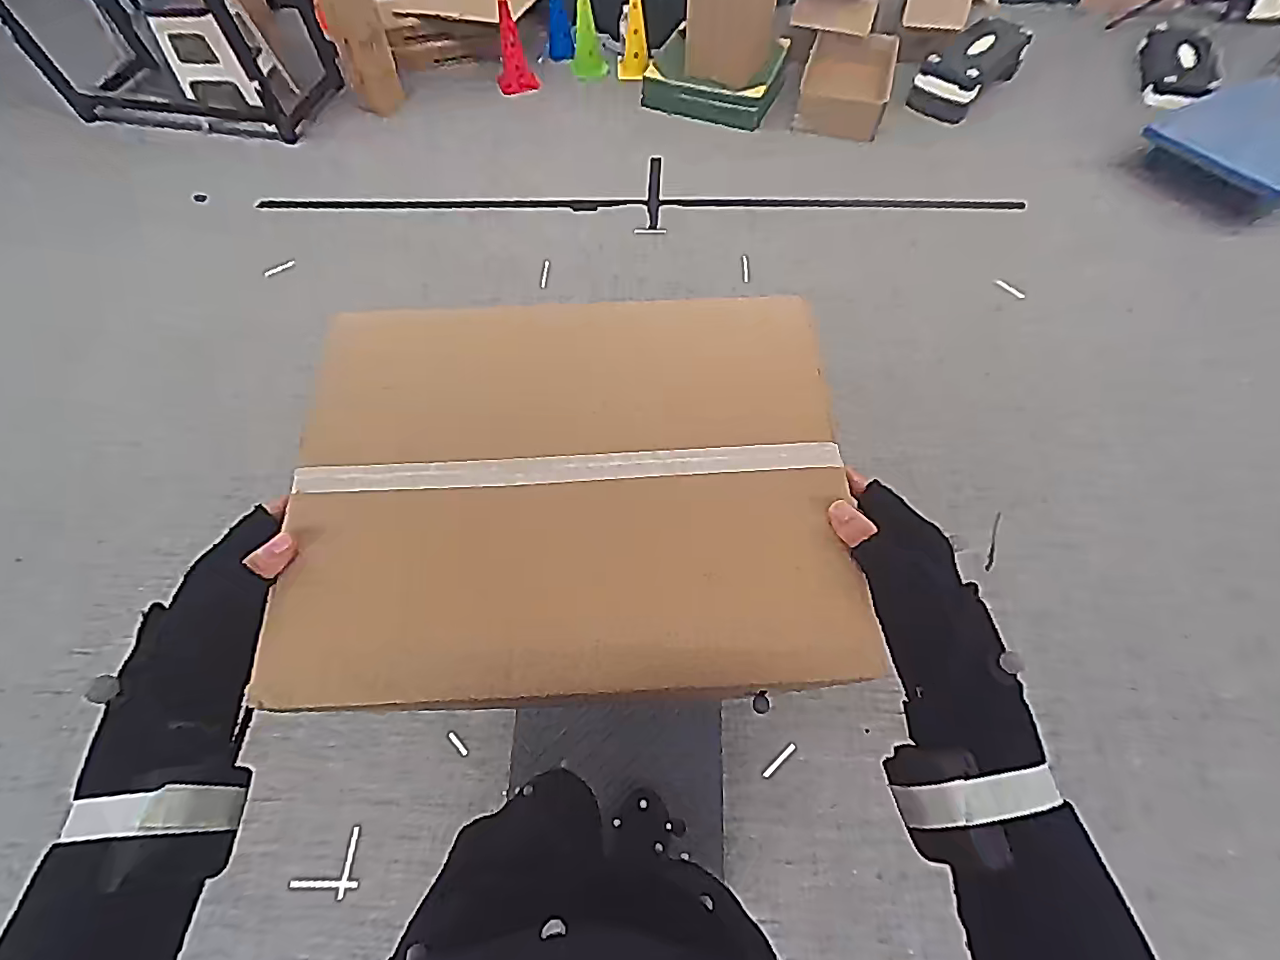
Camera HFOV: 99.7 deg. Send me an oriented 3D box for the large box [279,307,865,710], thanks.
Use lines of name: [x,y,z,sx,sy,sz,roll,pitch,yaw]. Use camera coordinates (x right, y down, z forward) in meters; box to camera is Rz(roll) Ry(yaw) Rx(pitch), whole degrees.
large box: [-0.050,0.055,0.555,0.408,0.320,0.320,-3,66,-1]
